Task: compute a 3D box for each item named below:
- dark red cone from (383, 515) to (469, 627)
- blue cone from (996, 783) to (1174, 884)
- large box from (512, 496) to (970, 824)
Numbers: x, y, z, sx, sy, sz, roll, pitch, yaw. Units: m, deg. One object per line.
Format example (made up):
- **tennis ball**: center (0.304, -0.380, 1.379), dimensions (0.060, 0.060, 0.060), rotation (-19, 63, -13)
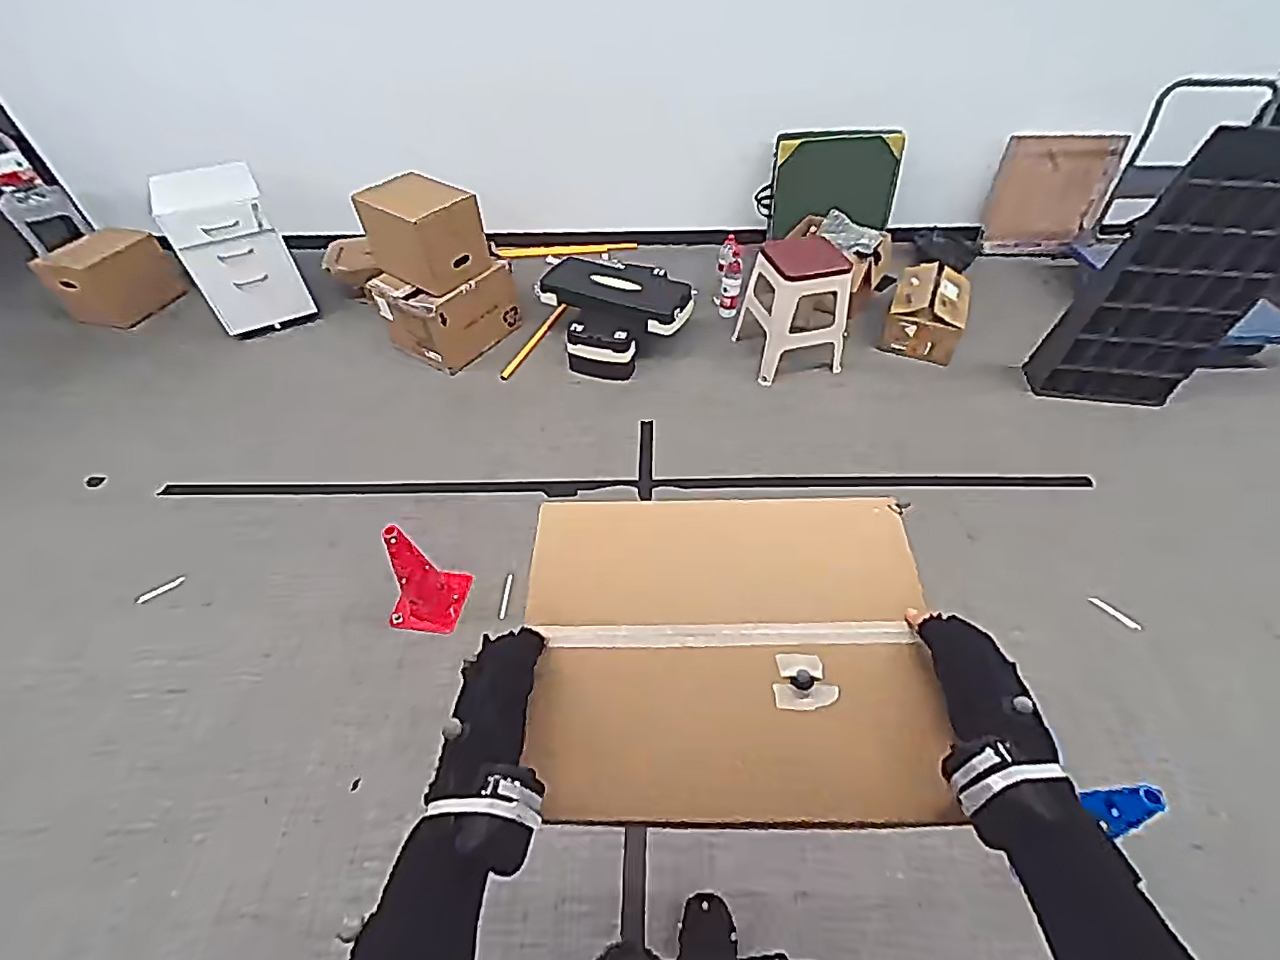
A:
- **dark red cone**: center (-0.632, 0.235, 1.502), dimensions (0.201, 0.394, 0.202), rotation (5, 48, 4)
- **blue cone**: center (0.927, 0.688, 1.106), dimensions (0.192, 0.380, 0.193), rotation (3, 48, 3)
- **large box**: center (0.088, 0.234, 0.668), dimensions (0.408, 0.320, 0.320), rotation (-1, 57, 2)
